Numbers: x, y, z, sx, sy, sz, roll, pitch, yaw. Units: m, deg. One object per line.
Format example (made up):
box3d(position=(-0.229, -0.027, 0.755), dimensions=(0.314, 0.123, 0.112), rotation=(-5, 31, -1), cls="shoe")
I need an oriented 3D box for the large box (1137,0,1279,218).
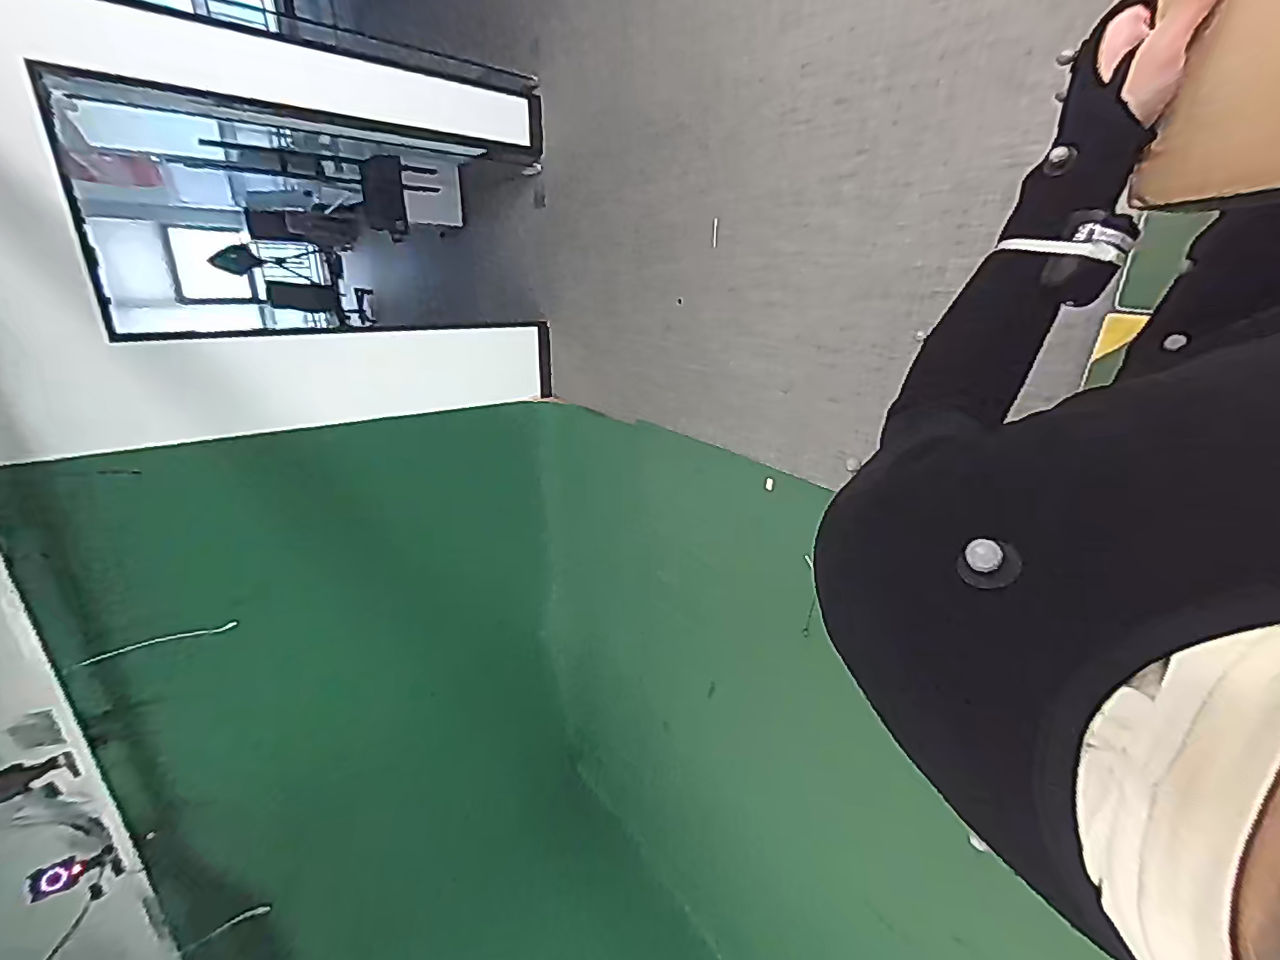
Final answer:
box3d(position=(0.632, -0.382, 0.352), dimensions=(0.408, 0.320, 0.320), rotation=(13, 117, 47), cls="large box")
